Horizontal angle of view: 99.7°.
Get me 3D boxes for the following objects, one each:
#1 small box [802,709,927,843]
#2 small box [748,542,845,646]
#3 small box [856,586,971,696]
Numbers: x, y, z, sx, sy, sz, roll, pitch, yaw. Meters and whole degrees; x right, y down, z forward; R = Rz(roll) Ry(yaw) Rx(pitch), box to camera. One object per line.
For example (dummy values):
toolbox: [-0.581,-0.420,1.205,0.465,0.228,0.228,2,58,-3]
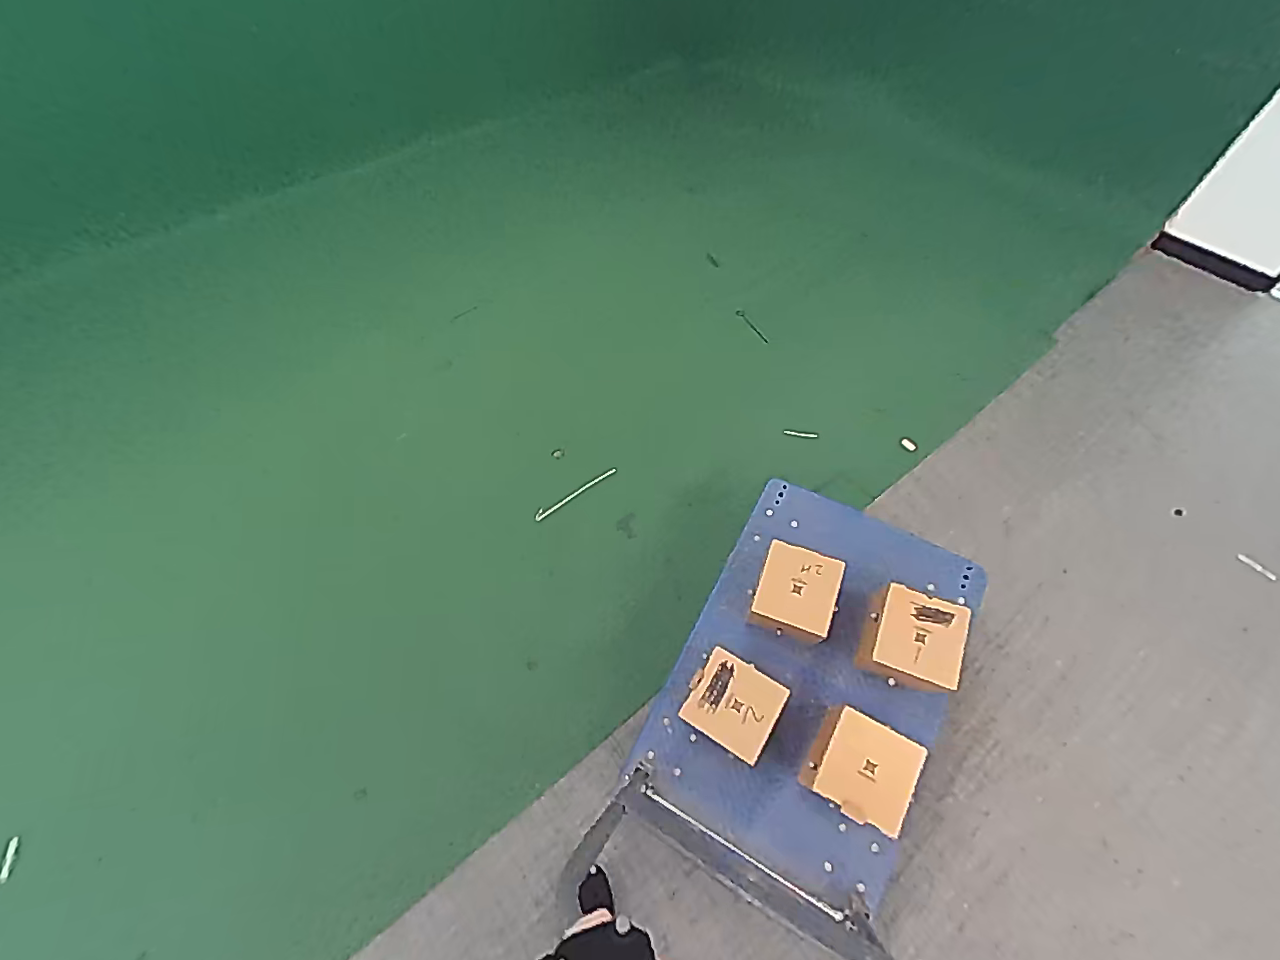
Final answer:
small box: [0.449,0.592,1.108,0.168,0.176,0.179,26,73,16]
small box: [0.356,0.271,1.255,0.168,0.176,0.179,18,70,13]
small box: [0.593,0.358,1.191,0.168,0.176,0.179,19,71,15]
